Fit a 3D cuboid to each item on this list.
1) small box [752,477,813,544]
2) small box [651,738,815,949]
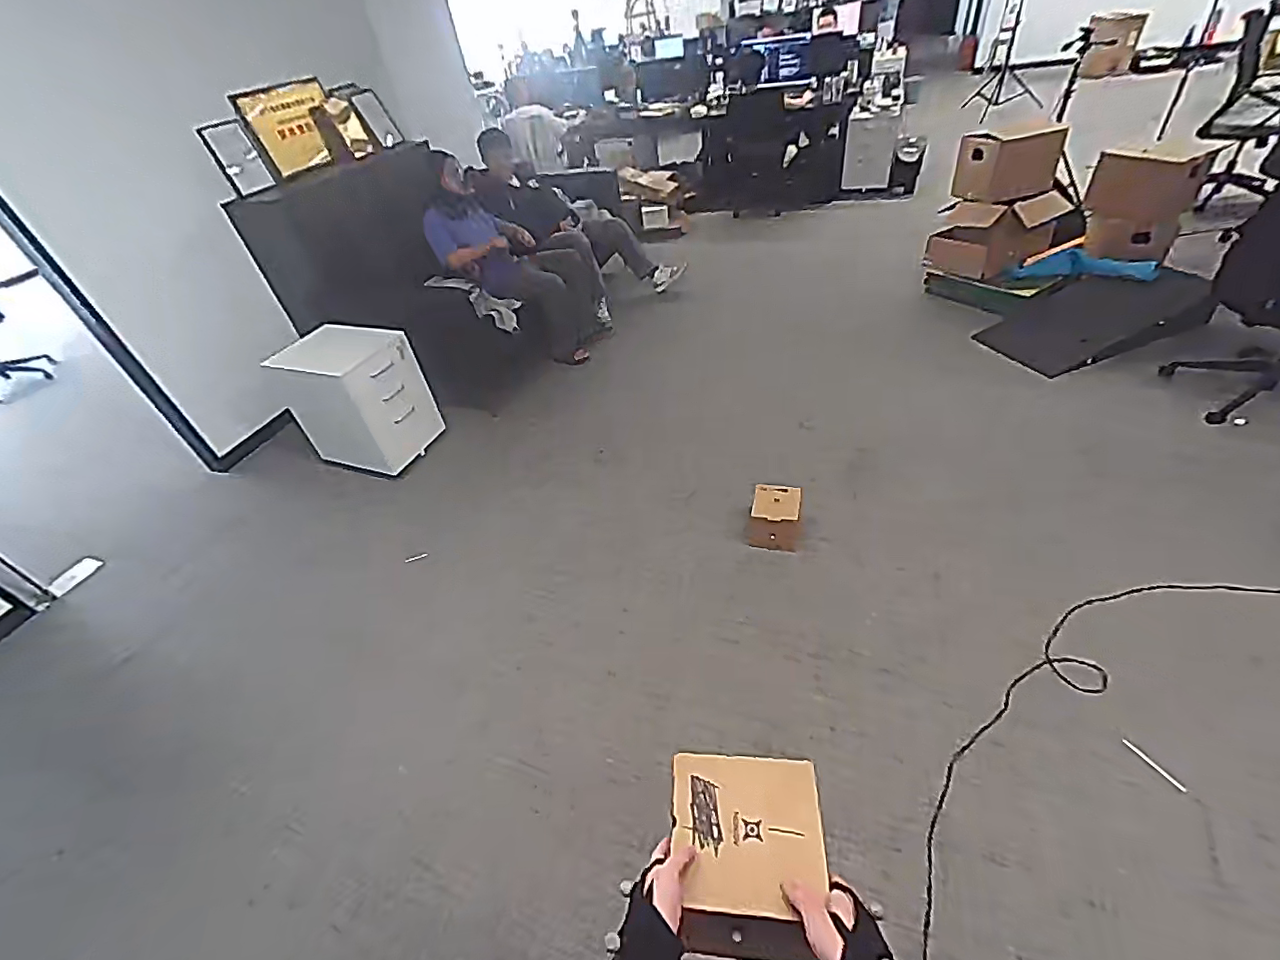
[{"bbox_3d":[0.535,0.119,2.035,0.179,0.176,0.168,-16,39,-4],"label":"small box"},{"bbox_3d":[0.122,0.453,0.680,0.179,0.176,0.168,1,39,13],"label":"small box"}]
